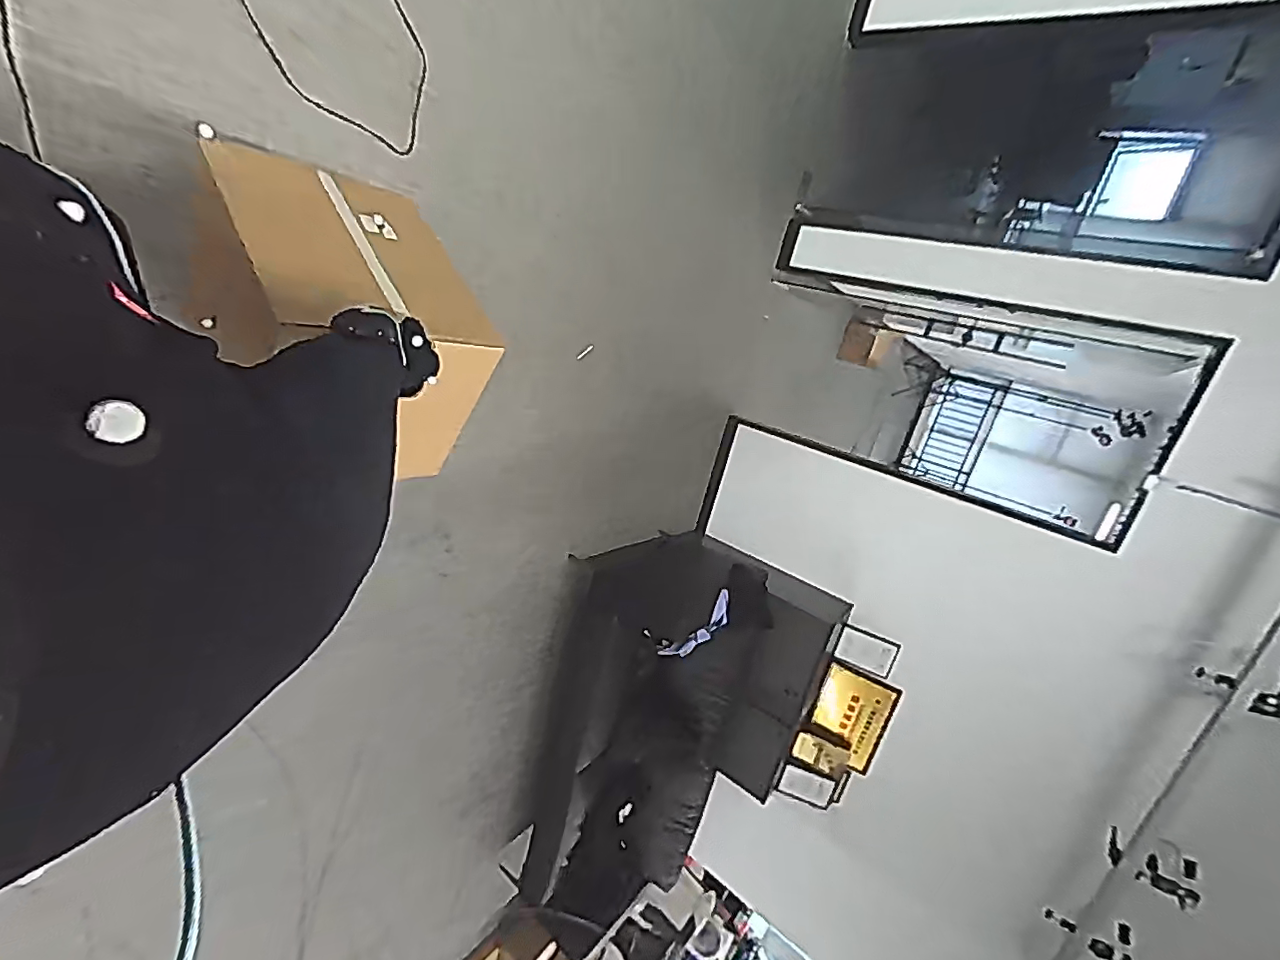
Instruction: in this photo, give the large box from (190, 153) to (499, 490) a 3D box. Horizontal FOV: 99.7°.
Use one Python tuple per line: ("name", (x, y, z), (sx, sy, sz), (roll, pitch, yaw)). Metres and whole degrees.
("large box", (-0.506, -0.242, 0.903), (0.320, 0.408, 0.320), (-8, 146, -49))
